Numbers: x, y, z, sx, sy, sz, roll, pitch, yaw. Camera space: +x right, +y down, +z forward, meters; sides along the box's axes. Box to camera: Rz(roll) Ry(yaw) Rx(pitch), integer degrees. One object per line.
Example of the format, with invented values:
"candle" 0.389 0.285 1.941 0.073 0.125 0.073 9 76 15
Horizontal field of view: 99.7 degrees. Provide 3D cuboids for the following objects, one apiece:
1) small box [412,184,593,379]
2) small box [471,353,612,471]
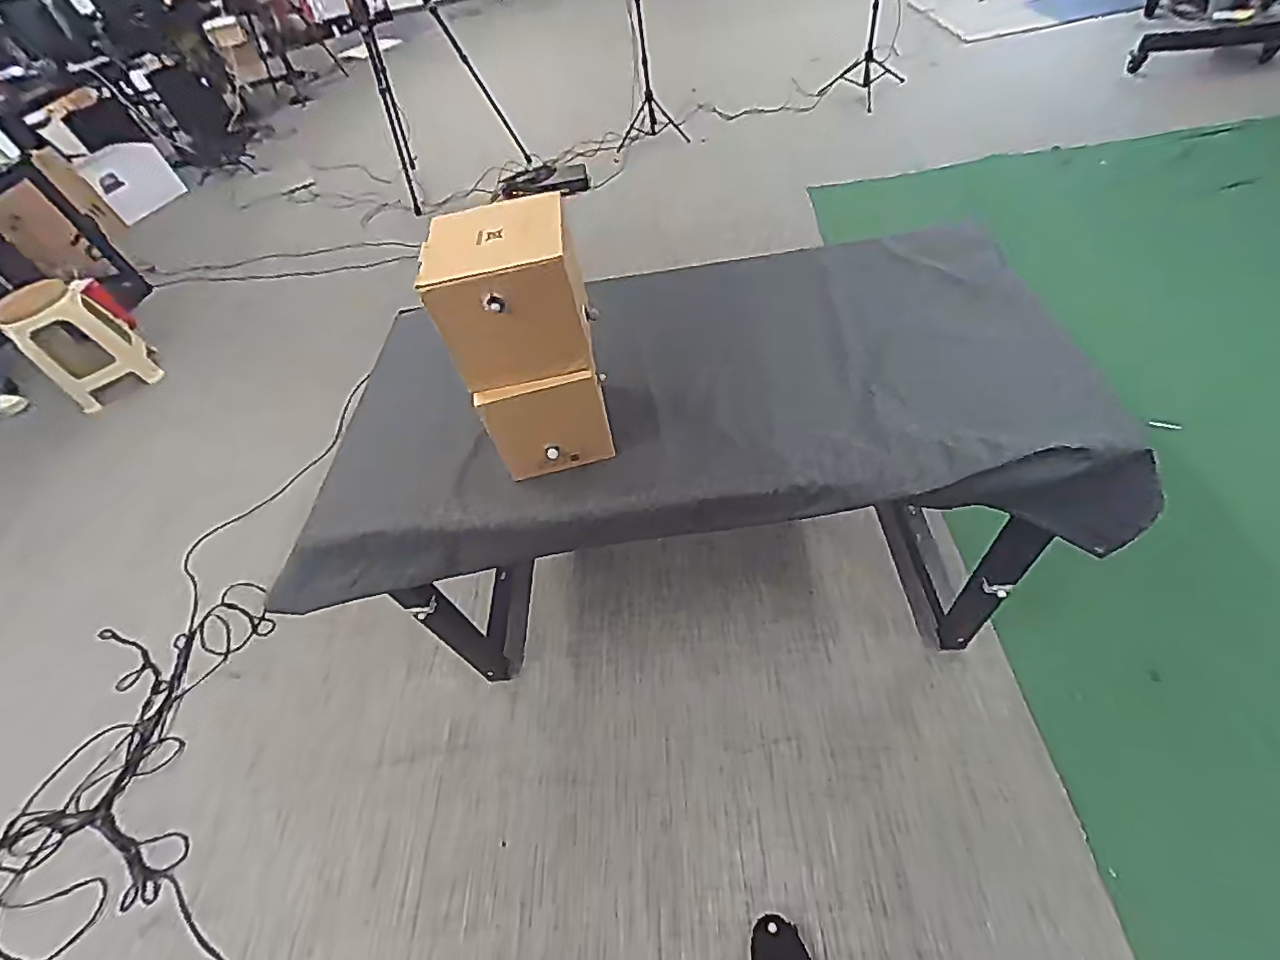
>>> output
"small box" -0.167 -0.252 0.709 0.179 0.176 0.168 -10 53 2
"small box" -0.146 -0.142 0.827 0.168 0.176 0.179 -14 52 0
